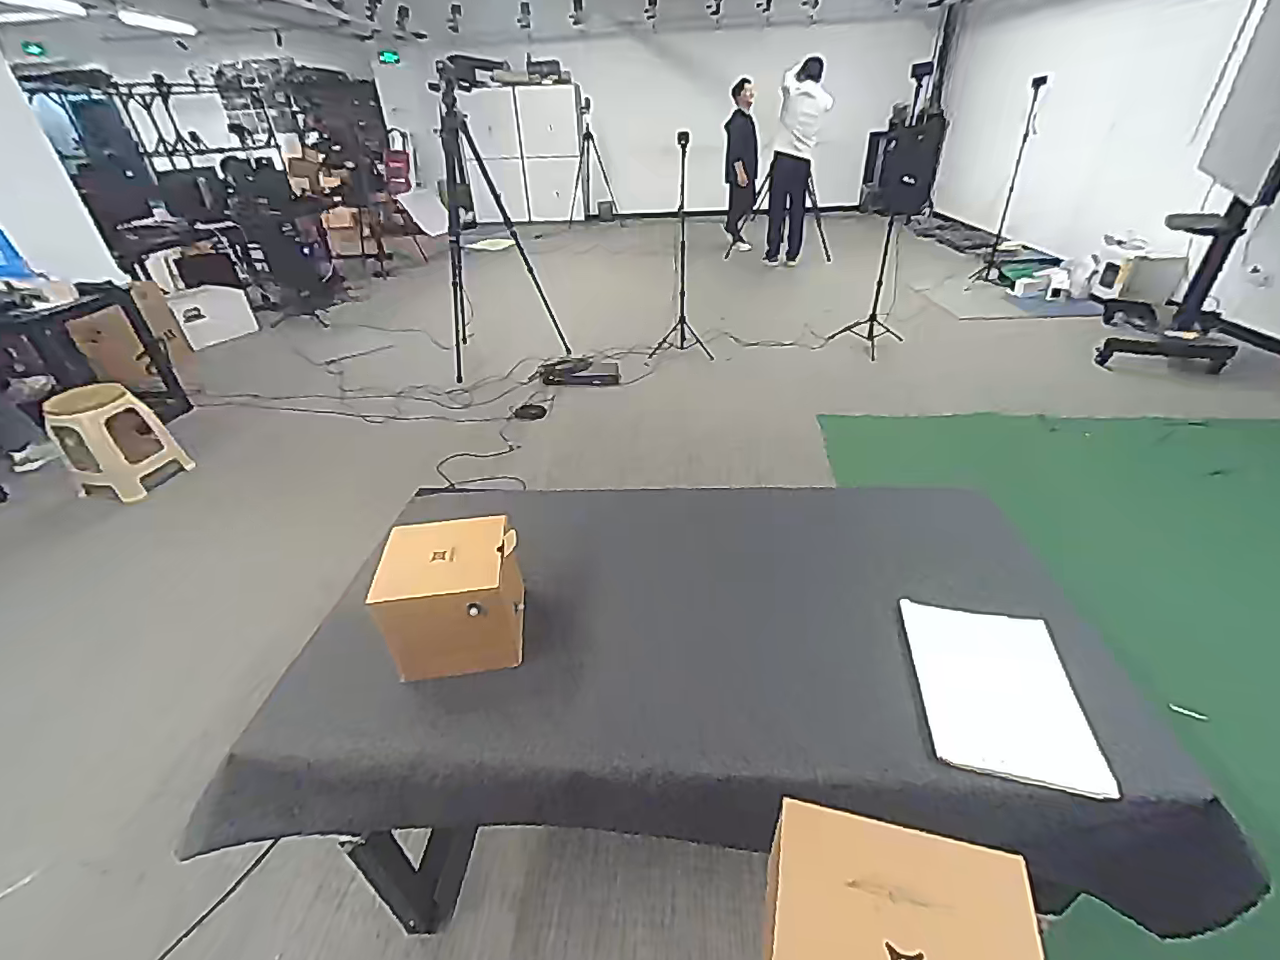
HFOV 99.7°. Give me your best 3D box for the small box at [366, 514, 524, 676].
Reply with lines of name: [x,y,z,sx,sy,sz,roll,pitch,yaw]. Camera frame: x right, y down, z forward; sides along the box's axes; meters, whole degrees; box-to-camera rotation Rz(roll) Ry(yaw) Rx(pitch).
small box: [-0.279,0.173,0.818,0.179,0.176,0.168,-6,33,-6]

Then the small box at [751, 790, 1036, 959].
small box: [0.168,0.366,0.391,0.168,0.176,0.179,7,43,14]
